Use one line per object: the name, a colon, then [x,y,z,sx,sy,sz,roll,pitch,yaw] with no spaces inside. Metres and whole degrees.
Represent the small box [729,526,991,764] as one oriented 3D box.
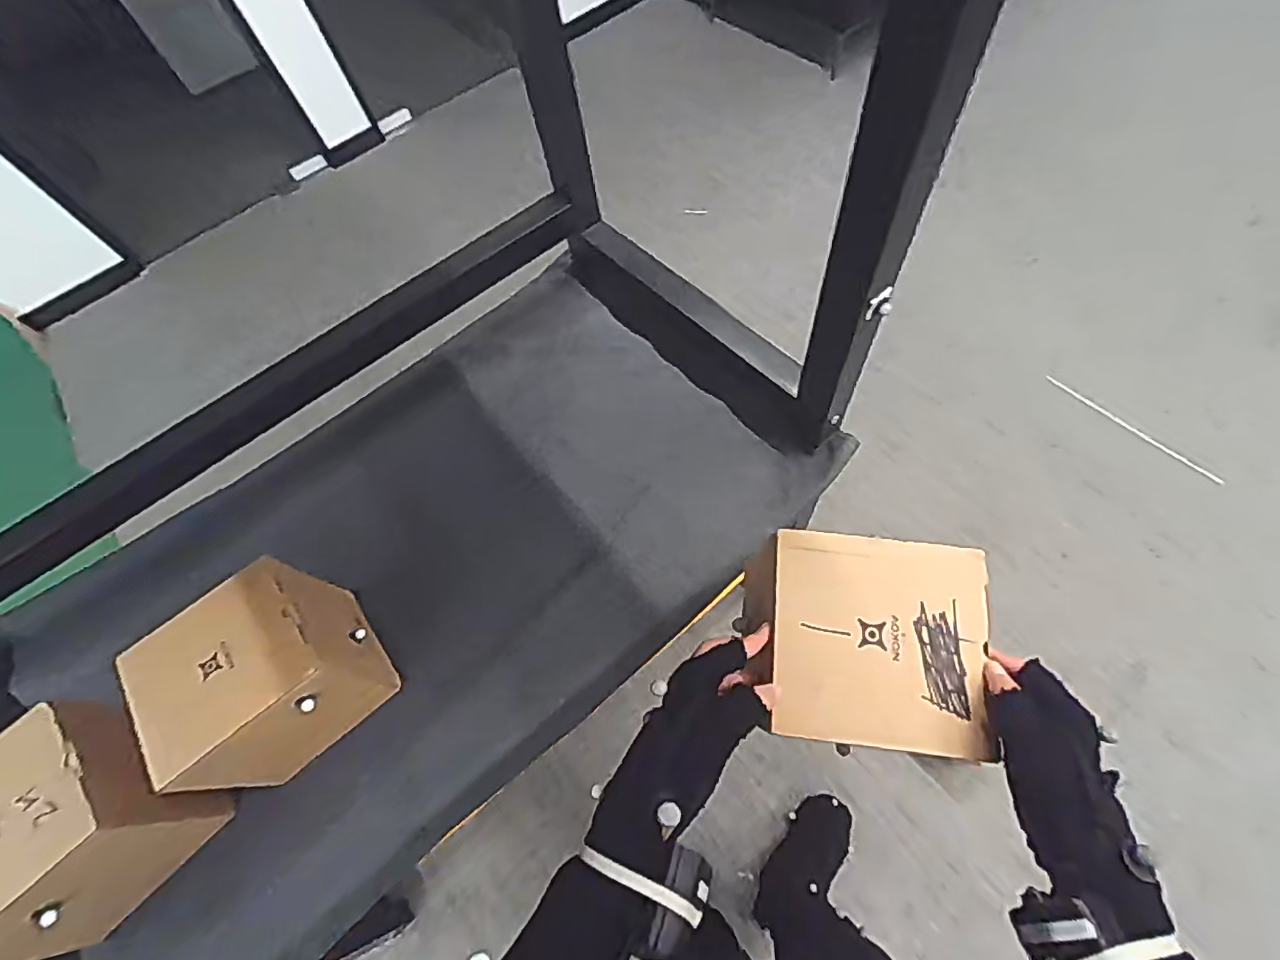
small box: [0.187,0.150,0.506,0.179,0.176,0.168,6,71,4]
